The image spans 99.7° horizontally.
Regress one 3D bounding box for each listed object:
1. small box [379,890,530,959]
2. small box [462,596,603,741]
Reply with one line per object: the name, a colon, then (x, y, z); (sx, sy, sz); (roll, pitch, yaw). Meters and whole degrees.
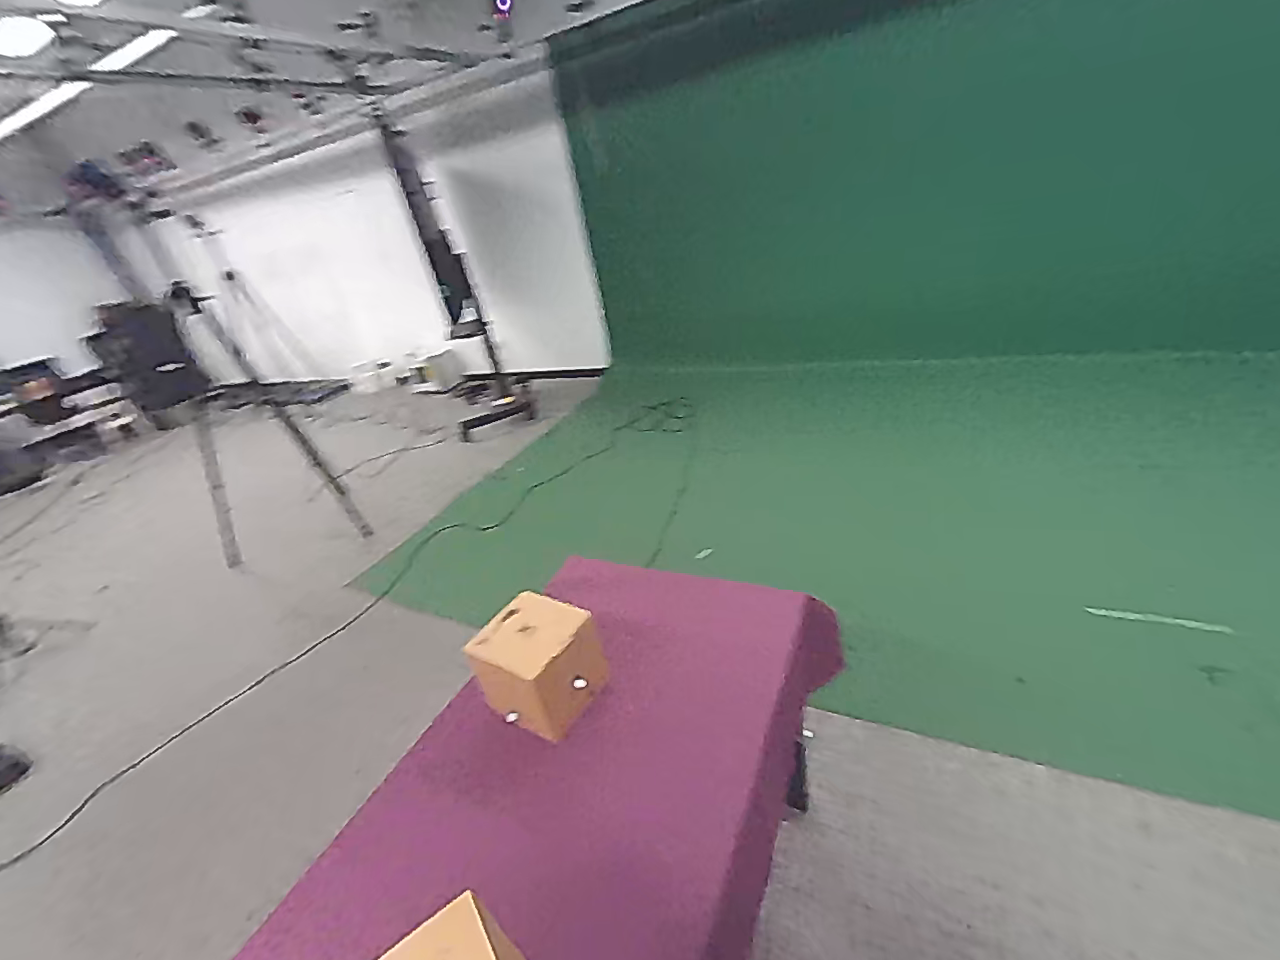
small box: (-0.141, 0.458, 0.383); (0.179, 0.176, 0.168); (-27, 35, -23)
small box: (-0.191, 0.350, 1.007); (0.179, 0.176, 0.168); (9, 34, 33)
